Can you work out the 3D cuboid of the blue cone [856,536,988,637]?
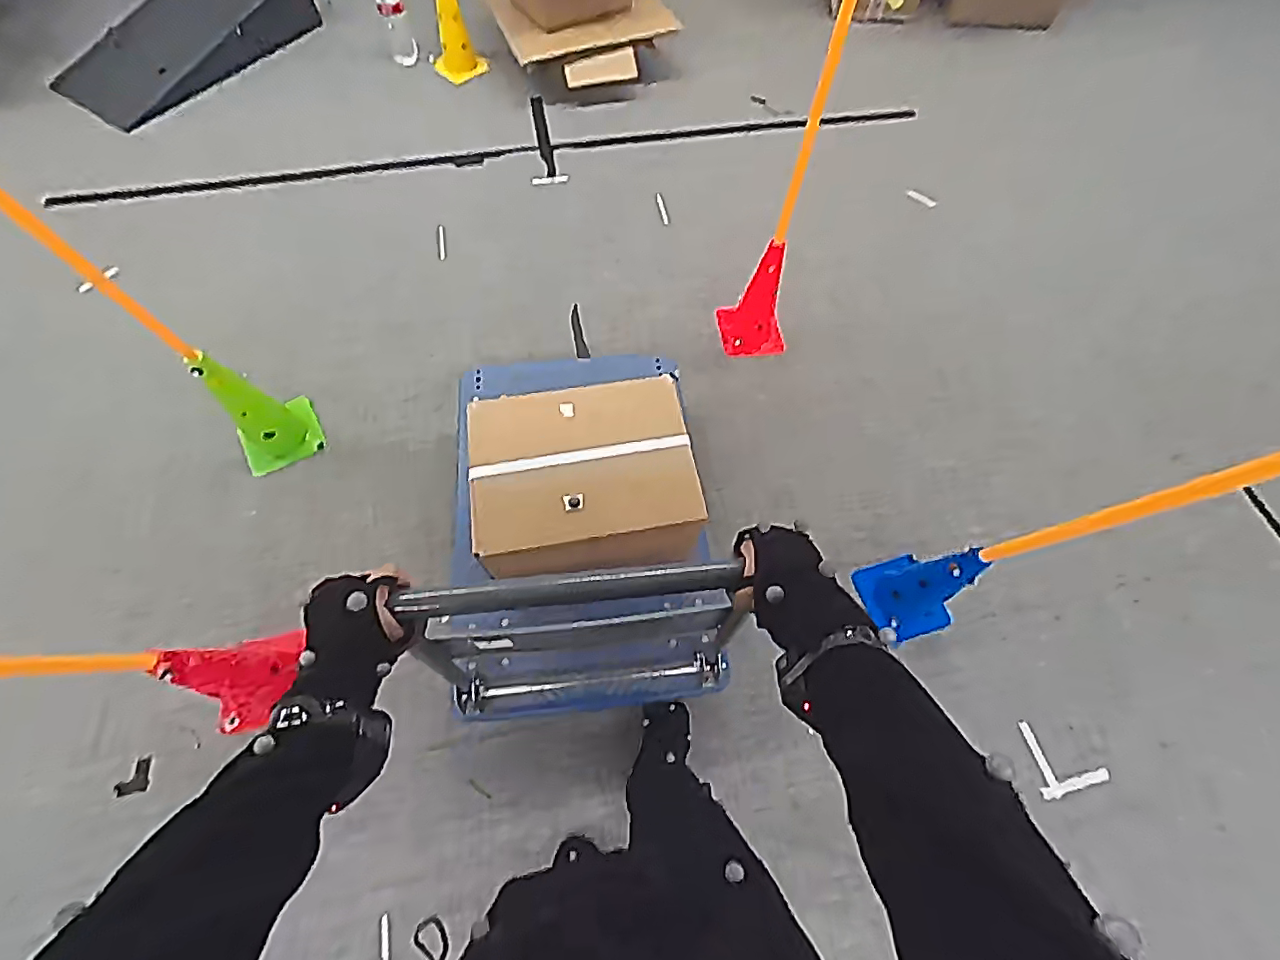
[{"bbox_3d":[0.680,0.222,1.247,0.193,0.380,0.192,-13,64,-9],"label":"blue cone"}]

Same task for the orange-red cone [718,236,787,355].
[{"bbox_3d":[0.367,-0.560,1.594,0.199,0.360,0.198,-4,65,-5],"label":"orange-red cone"}]
